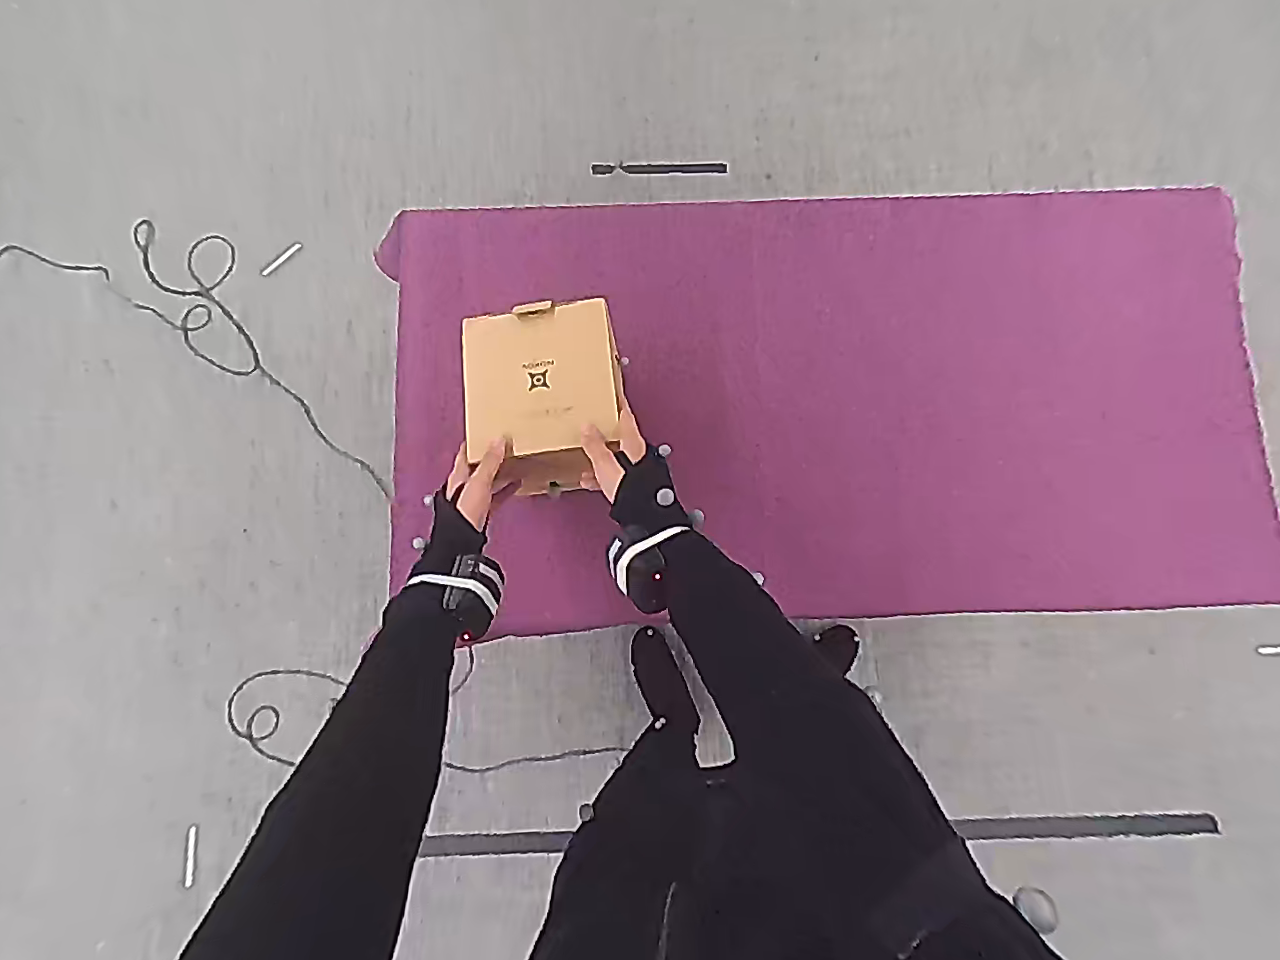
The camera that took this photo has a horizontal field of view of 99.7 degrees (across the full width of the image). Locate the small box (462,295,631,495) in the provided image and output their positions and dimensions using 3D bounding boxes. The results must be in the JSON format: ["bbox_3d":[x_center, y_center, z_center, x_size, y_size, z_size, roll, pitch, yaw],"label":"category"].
[{"bbox_3d":[-0.104,-0.092,0.652,0.168,0.176,0.179,-7,74,2],"label":"small box"}]
